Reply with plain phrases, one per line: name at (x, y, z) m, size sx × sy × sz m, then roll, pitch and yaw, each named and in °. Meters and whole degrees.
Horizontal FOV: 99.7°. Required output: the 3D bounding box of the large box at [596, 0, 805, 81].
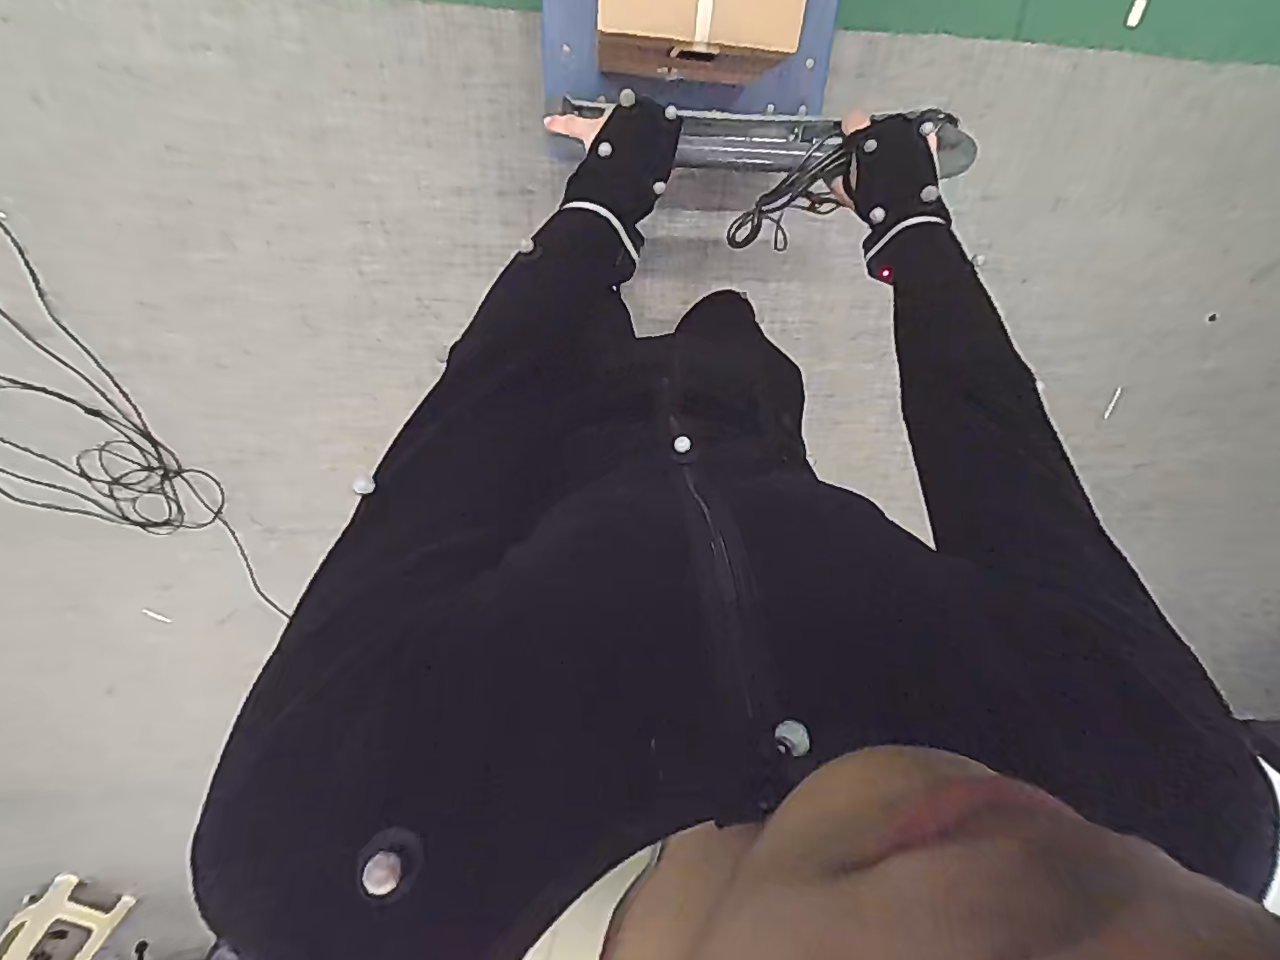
large box at (0.092, -0.908, 0.852) m, size 0.320 × 0.320 × 0.408 m, roll 2°, pitch 118°, yaw -6°
